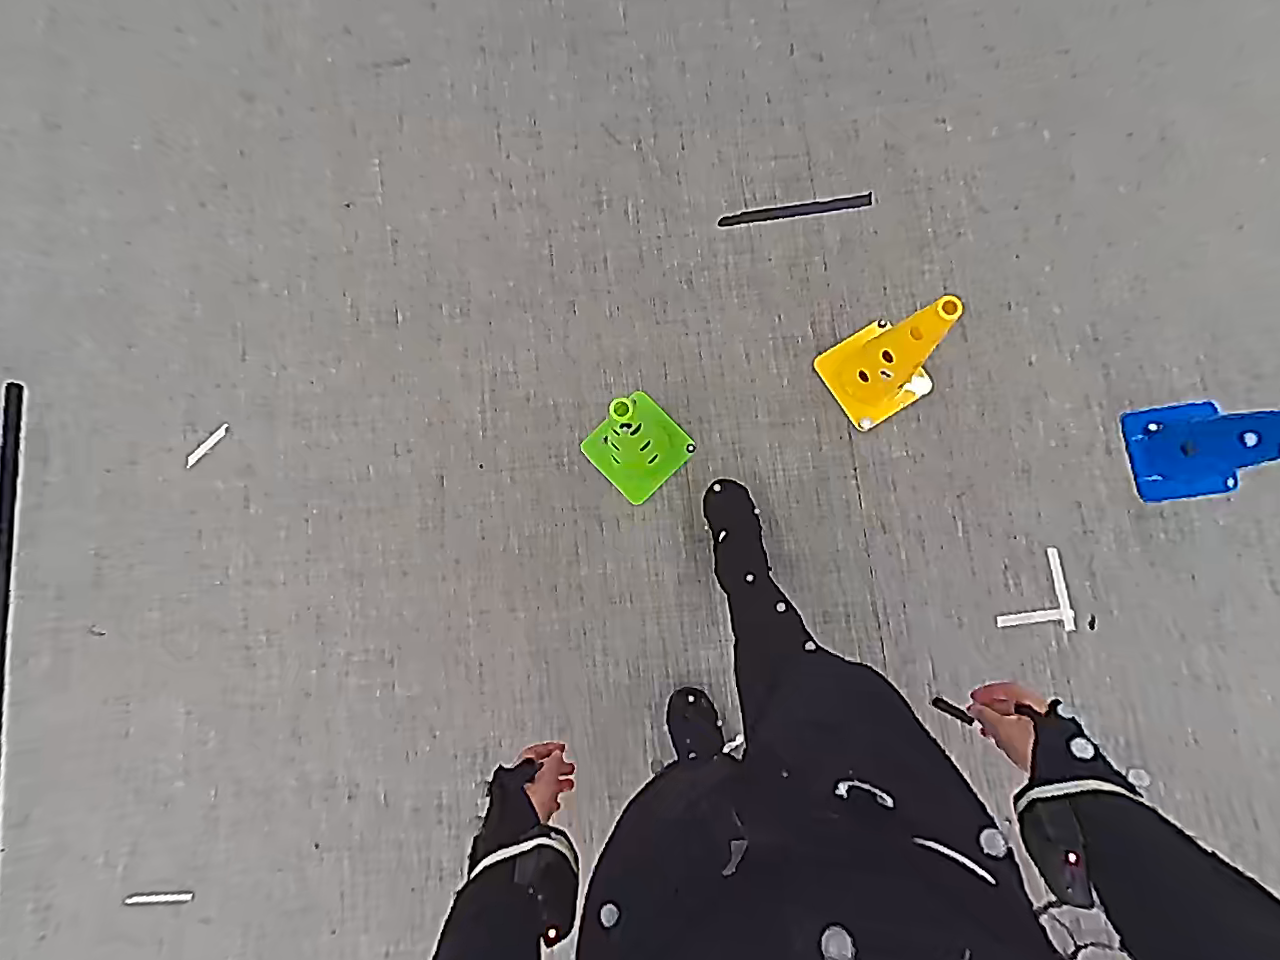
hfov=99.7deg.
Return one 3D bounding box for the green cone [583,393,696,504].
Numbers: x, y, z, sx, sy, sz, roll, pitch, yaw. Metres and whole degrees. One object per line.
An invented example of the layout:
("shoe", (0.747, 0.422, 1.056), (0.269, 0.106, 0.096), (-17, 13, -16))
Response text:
("green cone", (-0.018, -0.094, 1.065), (0.202, 0.368, 0.200), (-45, 81, -1))
